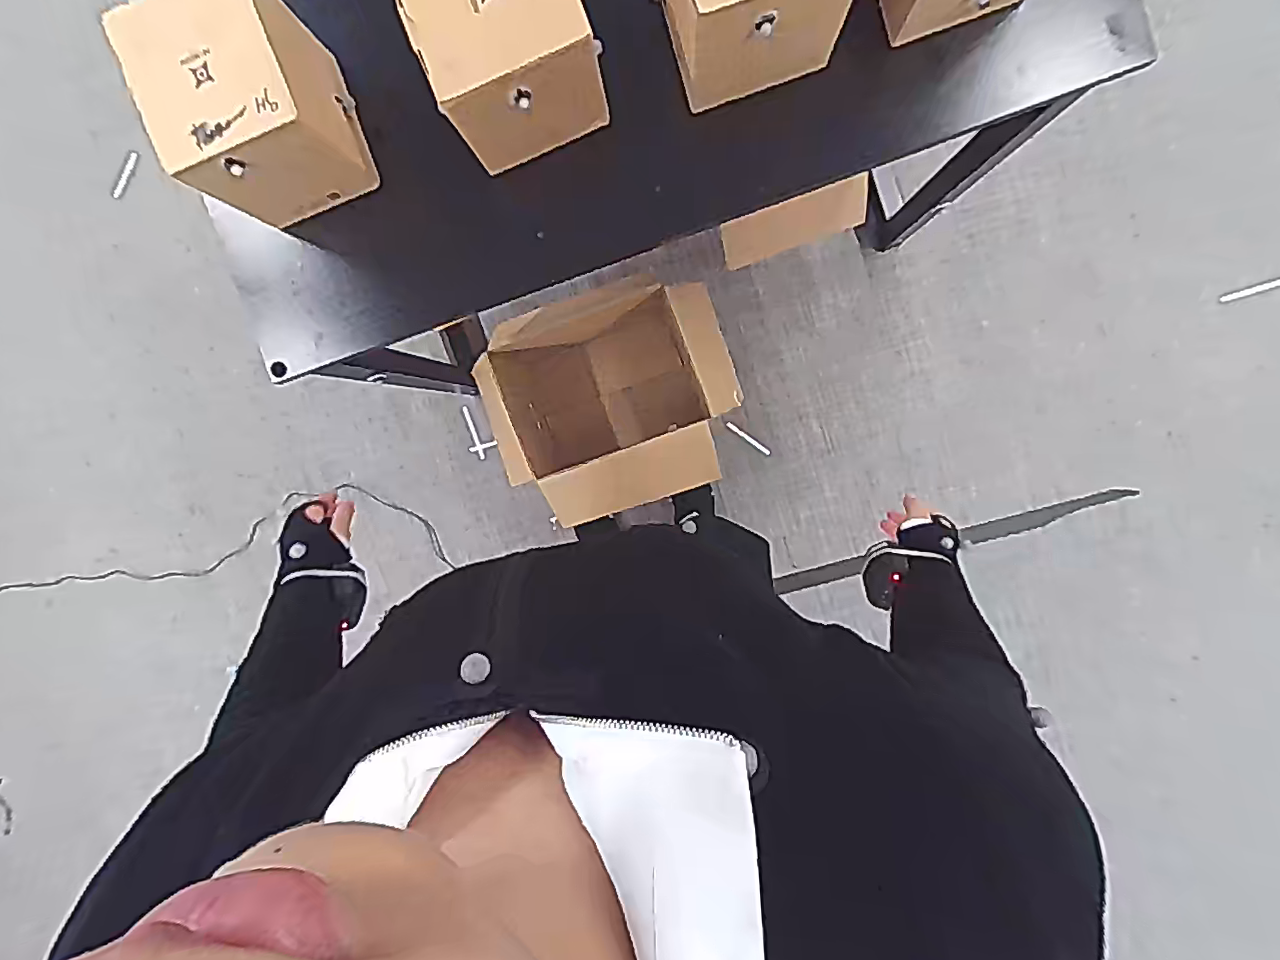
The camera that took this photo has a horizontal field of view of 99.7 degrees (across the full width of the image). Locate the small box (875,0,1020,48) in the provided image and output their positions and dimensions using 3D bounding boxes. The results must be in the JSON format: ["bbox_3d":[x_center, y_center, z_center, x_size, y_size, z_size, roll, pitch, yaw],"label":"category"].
[{"bbox_3d":[0.353,-0.626,0.576,0.168,0.176,0.179,-16,94,7],"label":"small box"}]

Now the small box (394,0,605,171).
[{"bbox_3d":[-0.154,-0.498,0.626,0.179,0.176,0.168,-21,95,5],"label":"small box"}]

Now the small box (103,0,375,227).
[{"bbox_3d":[-0.459,-0.442,0.649,0.168,0.176,0.179,-19,94,5],"label":"small box"}]

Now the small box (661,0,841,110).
[{"bbox_3d":[0.118,-0.558,0.600,0.179,0.176,0.168,-16,94,4],"label":"small box"}]
